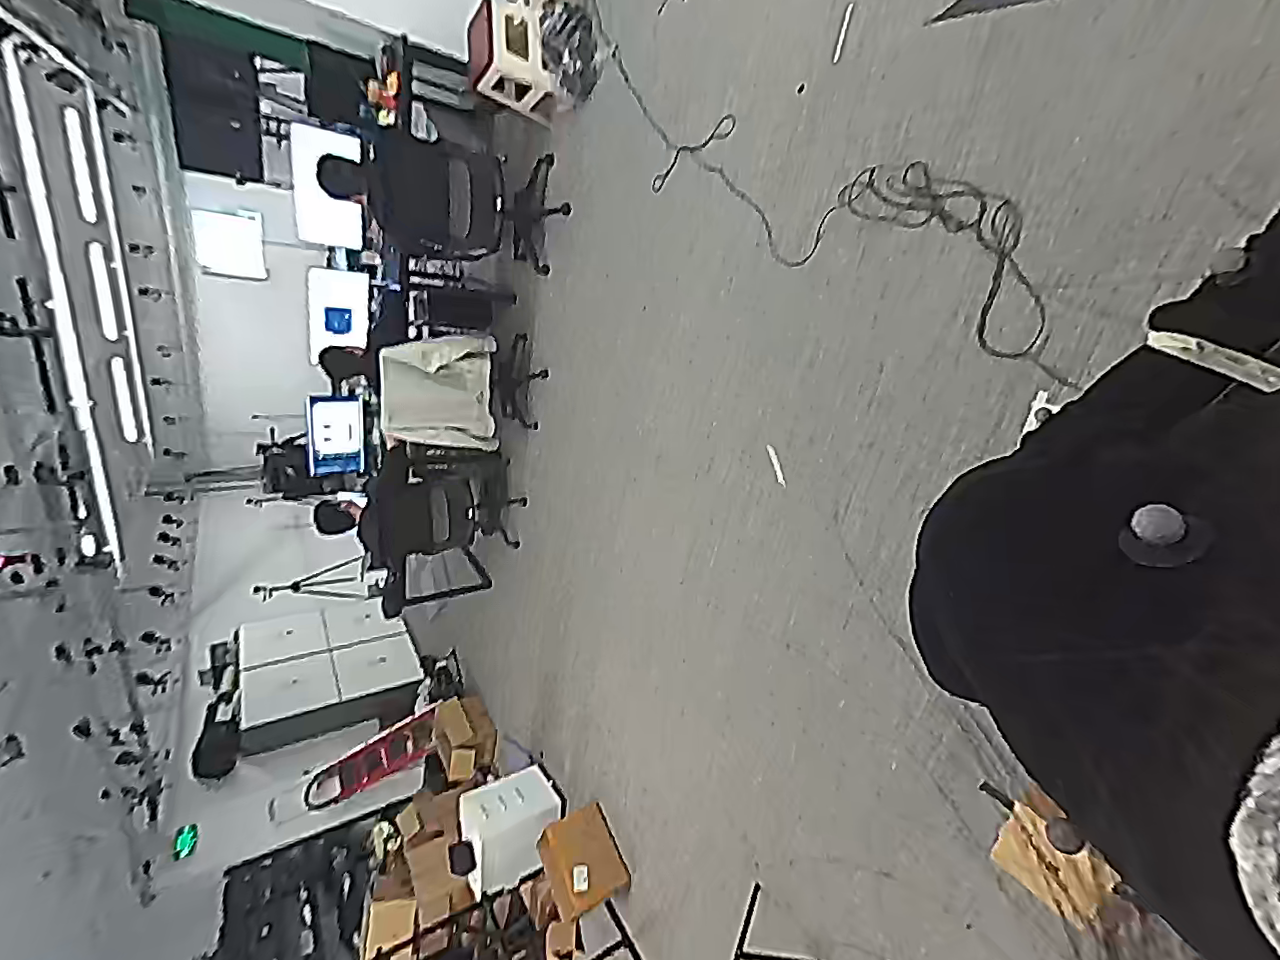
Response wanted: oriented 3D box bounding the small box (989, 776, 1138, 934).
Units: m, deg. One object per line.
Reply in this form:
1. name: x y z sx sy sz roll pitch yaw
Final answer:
1. small box: 0.871 0.755 1.111 0.179 0.176 0.168 33 120 47
